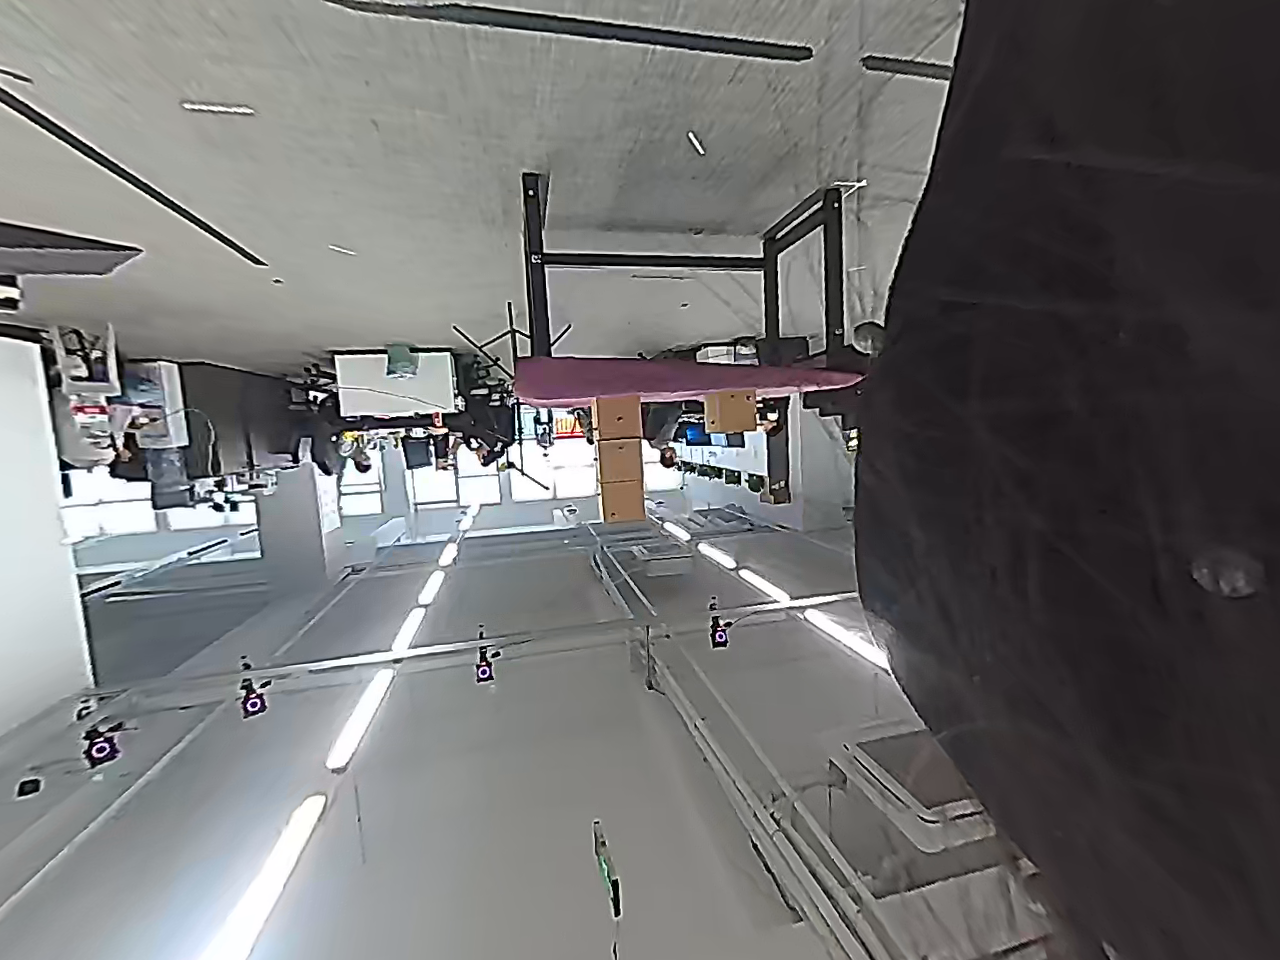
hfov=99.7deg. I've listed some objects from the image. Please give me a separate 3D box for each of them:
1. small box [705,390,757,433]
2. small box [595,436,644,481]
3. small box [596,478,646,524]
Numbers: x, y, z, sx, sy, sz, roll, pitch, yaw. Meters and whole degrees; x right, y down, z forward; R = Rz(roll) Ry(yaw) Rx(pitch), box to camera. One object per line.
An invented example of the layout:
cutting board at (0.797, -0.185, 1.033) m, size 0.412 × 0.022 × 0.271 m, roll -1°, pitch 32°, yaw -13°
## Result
small box at (0.376, -0.290, 2.263) m, size 0.168 × 0.176 × 0.179 m, roll -4°, pitch -173°, yaw -13°
small box at (-0.087, -0.089, 2.166) m, size 0.179 × 0.176 × 0.168 m, roll -4°, pitch -174°, yaw -8°
small box at (-0.078, 0.072, 2.192) m, size 0.179 × 0.176 × 0.168 m, roll -5°, pitch -174°, yaw -9°
